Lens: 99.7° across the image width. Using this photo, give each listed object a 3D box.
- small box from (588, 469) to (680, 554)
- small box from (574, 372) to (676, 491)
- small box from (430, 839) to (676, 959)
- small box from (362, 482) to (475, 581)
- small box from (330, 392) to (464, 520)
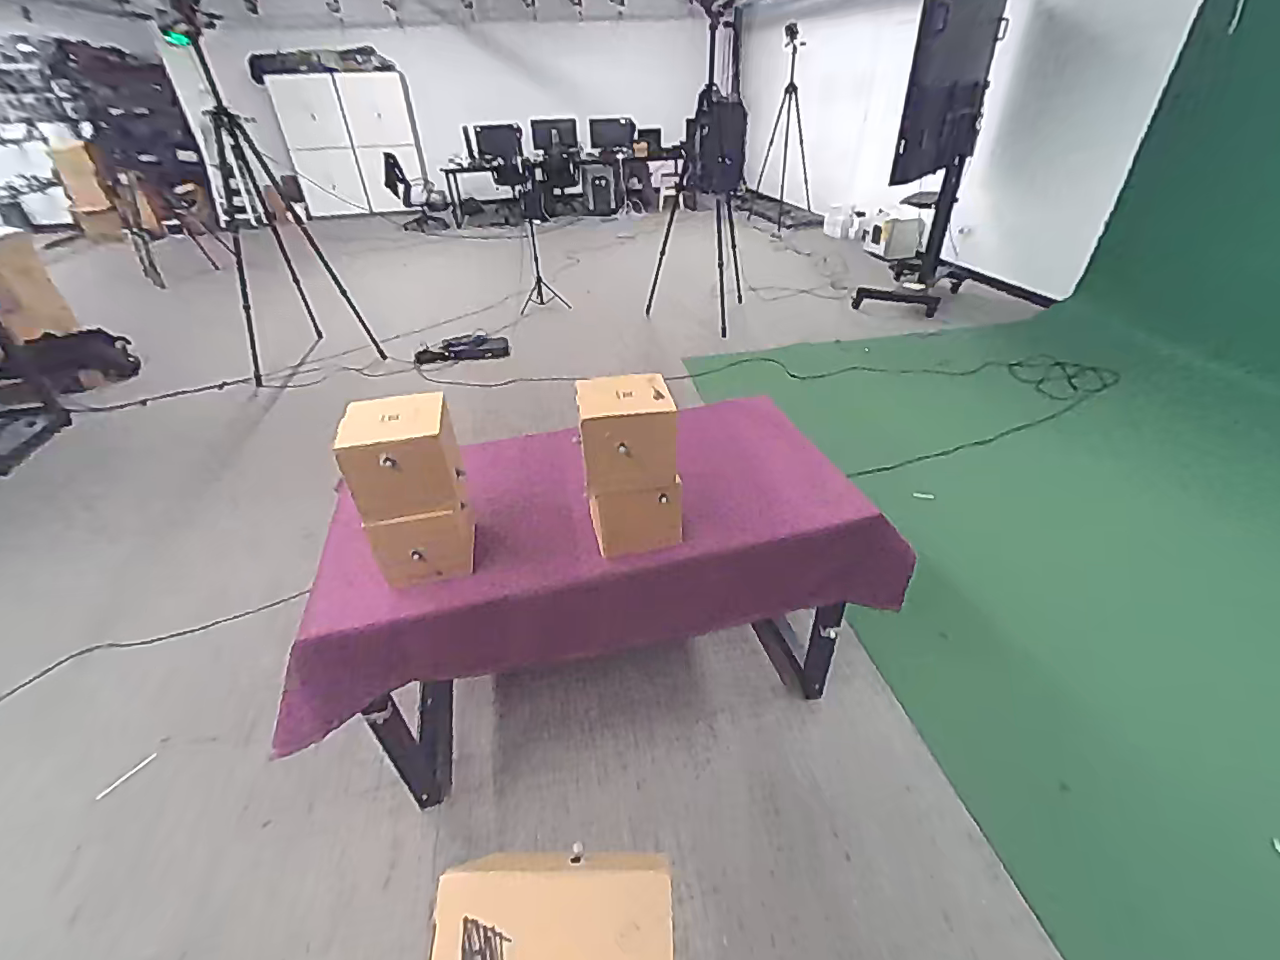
[{"bbox_3d":[-0.017,0.037,1.150,0.179,0.176,0.168,-9,36,-10],"label":"small box"},{"bbox_3d":[-0.029,-0.093,1.049,0.179,0.176,0.168,-7,36,-6],"label":"small box"},{"bbox_3d":[-0.059,0.395,0.435,0.179,0.176,0.168,-1,60,1],"label":"small box"},{"bbox_3d":[-0.438,0.089,1.102,0.168,0.176,0.179,-8,36,-9],"label":"small box"},{"bbox_3d":[-0.440,-0.044,1.008,0.179,0.176,0.168,-9,38,-10],"label":"small box"}]
